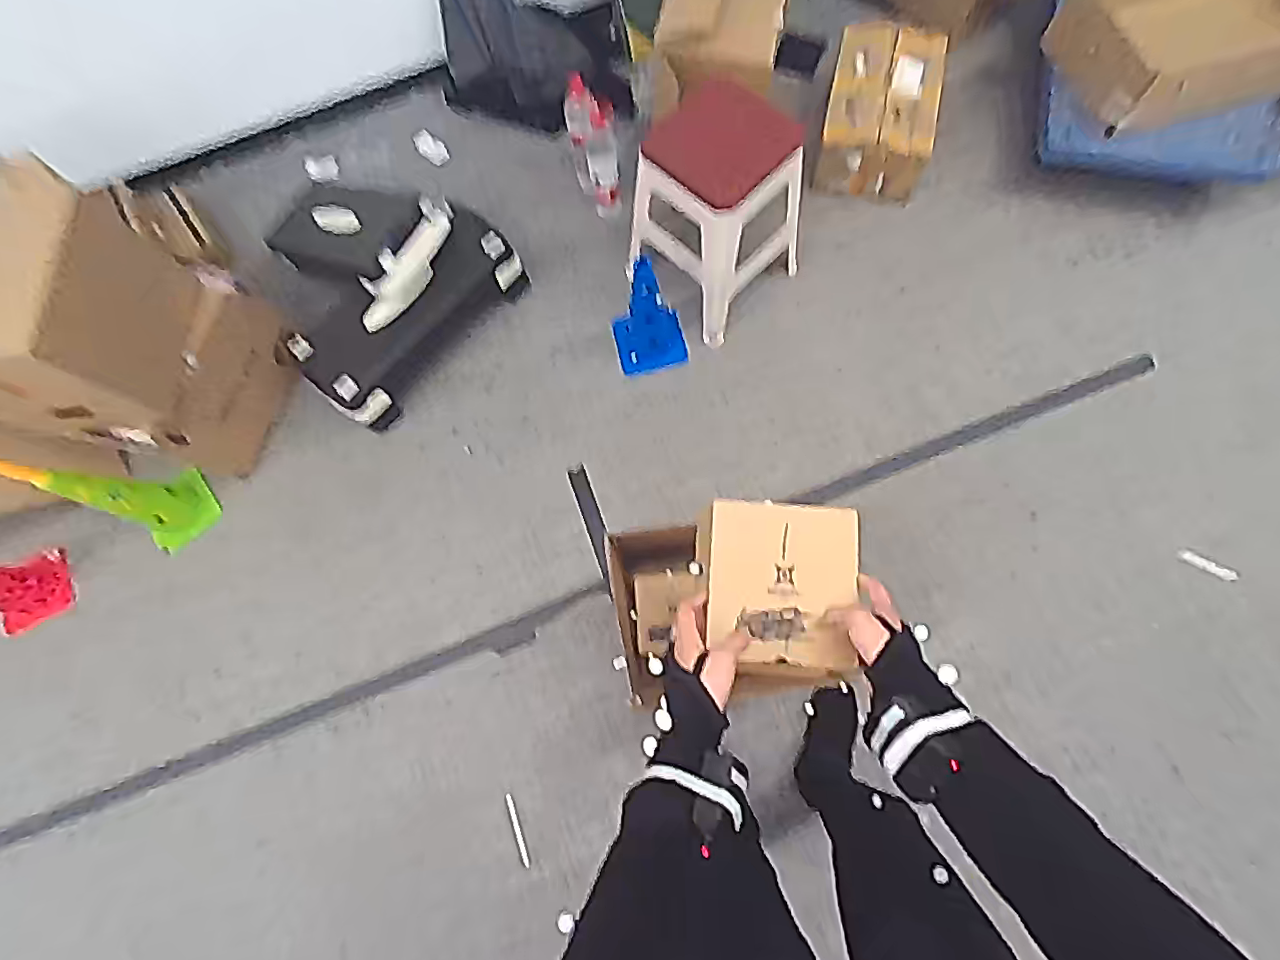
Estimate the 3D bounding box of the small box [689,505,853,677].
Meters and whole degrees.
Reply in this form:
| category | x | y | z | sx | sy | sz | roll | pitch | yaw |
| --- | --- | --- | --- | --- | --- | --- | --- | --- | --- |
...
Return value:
| category | x | y | z | sx | sy | sz | roll | pitch | yaw |
| --- | --- | --- | --- | --- | --- | --- | --- | --- | --- |
| small box | 0.151 | 0.133 | 0.671 | 0.168 | 0.176 | 0.179 | 4 | 79 | 1 |
